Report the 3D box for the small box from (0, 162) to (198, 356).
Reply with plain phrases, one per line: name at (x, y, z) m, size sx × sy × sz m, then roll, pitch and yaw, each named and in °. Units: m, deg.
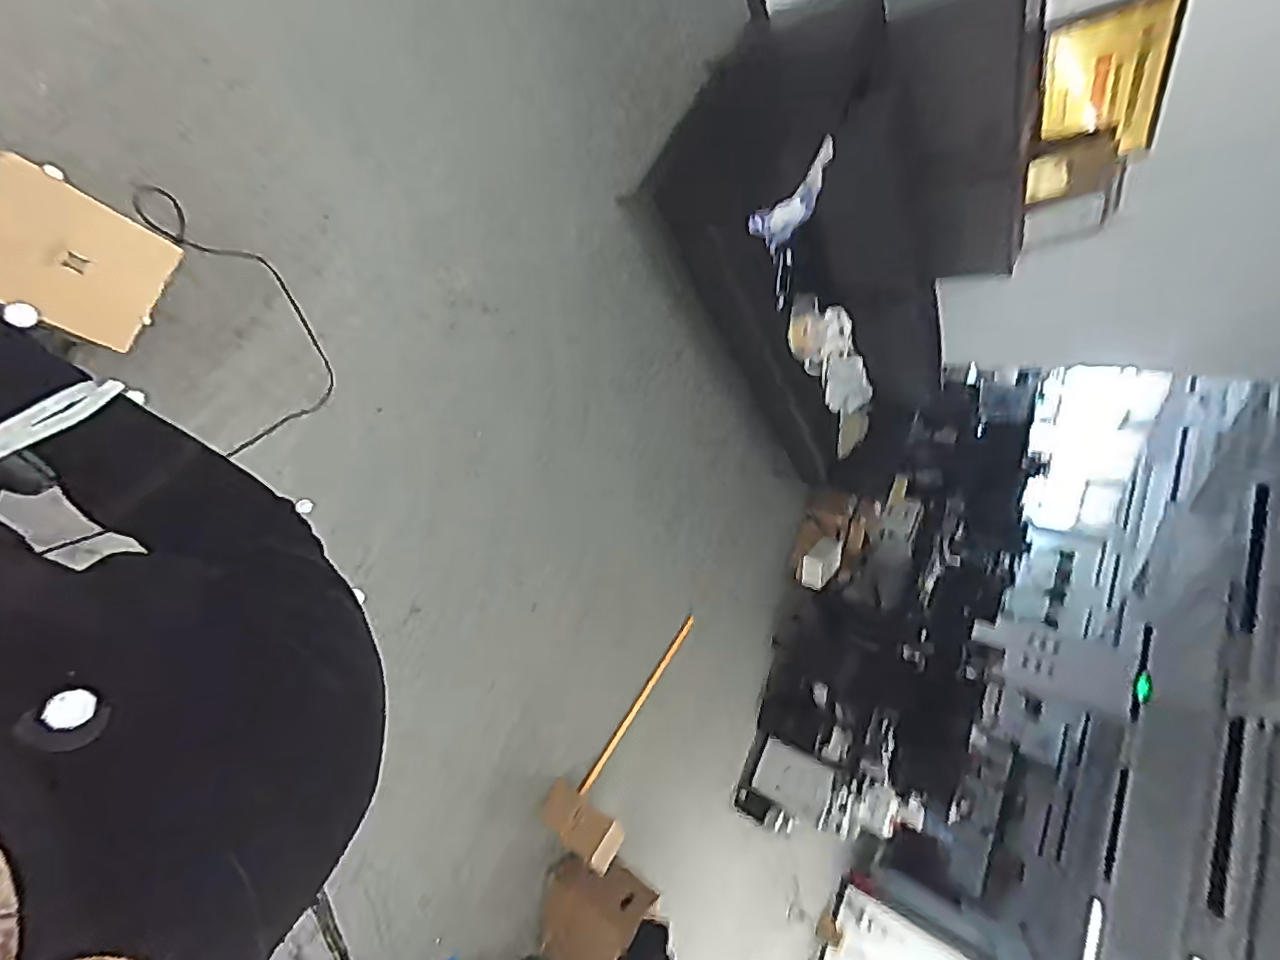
small box at (-0.760, -0.289, 0.734) m, size 0.179 × 0.176 × 0.168 m, roll 32°, pitch 76°, yaw -50°
